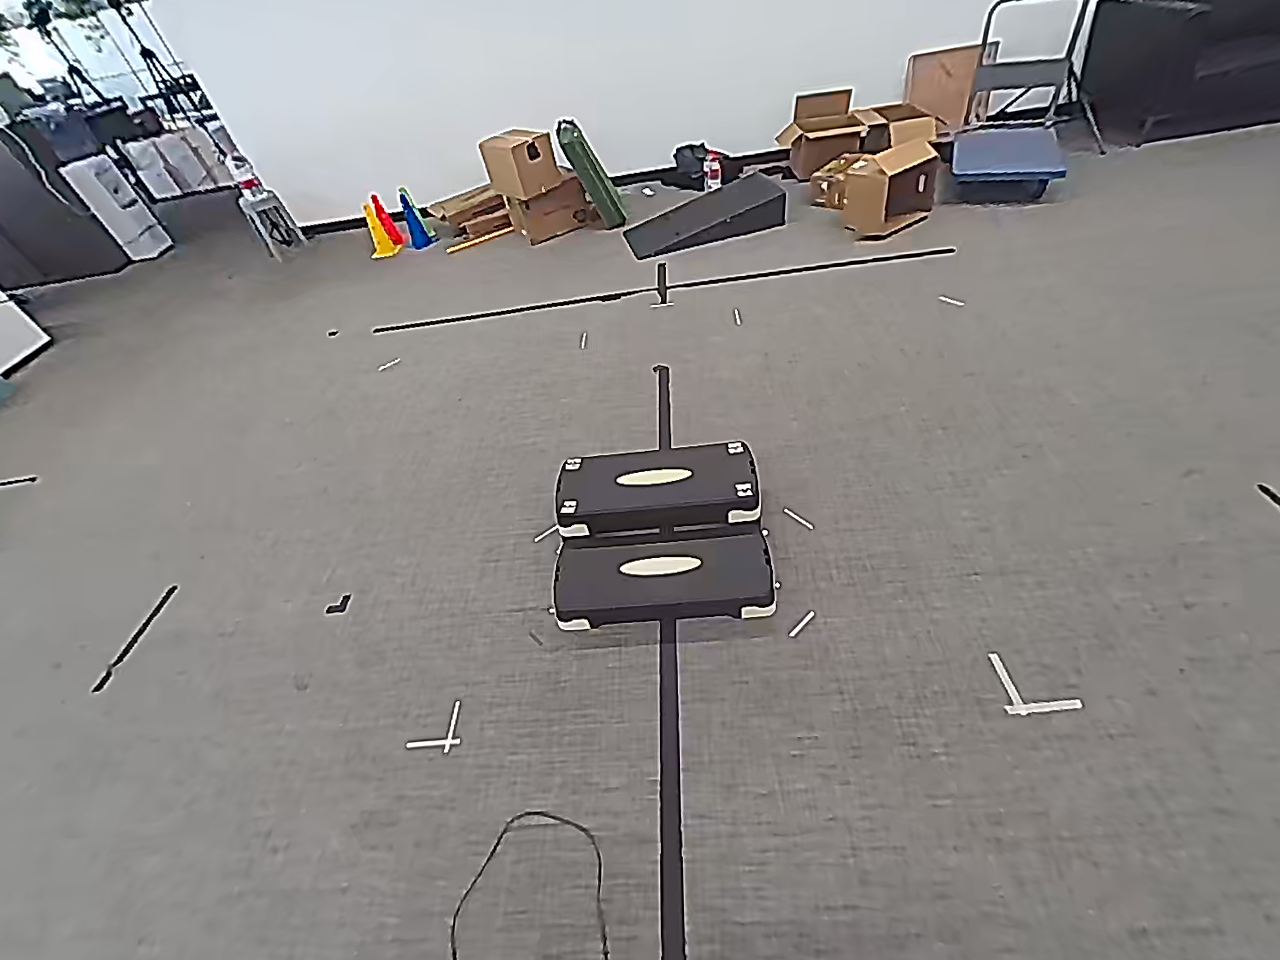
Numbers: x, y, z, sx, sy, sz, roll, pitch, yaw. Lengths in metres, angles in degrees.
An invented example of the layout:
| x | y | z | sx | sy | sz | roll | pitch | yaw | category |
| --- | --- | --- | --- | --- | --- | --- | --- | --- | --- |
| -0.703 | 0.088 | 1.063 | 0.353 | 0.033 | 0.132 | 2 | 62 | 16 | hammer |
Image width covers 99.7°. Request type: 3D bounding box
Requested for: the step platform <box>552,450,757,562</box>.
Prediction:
| x | y | z | sx | sy | sz | roll | pitch | yaw | category |
| --- | --- | --- | --- | --- | --- | --- | --- | --- | --- |
| 0.045 | 0.085 | 1.833 | 0.684 | 0.204 | 0.286 | -6 | 46 | 5 | step platform |
